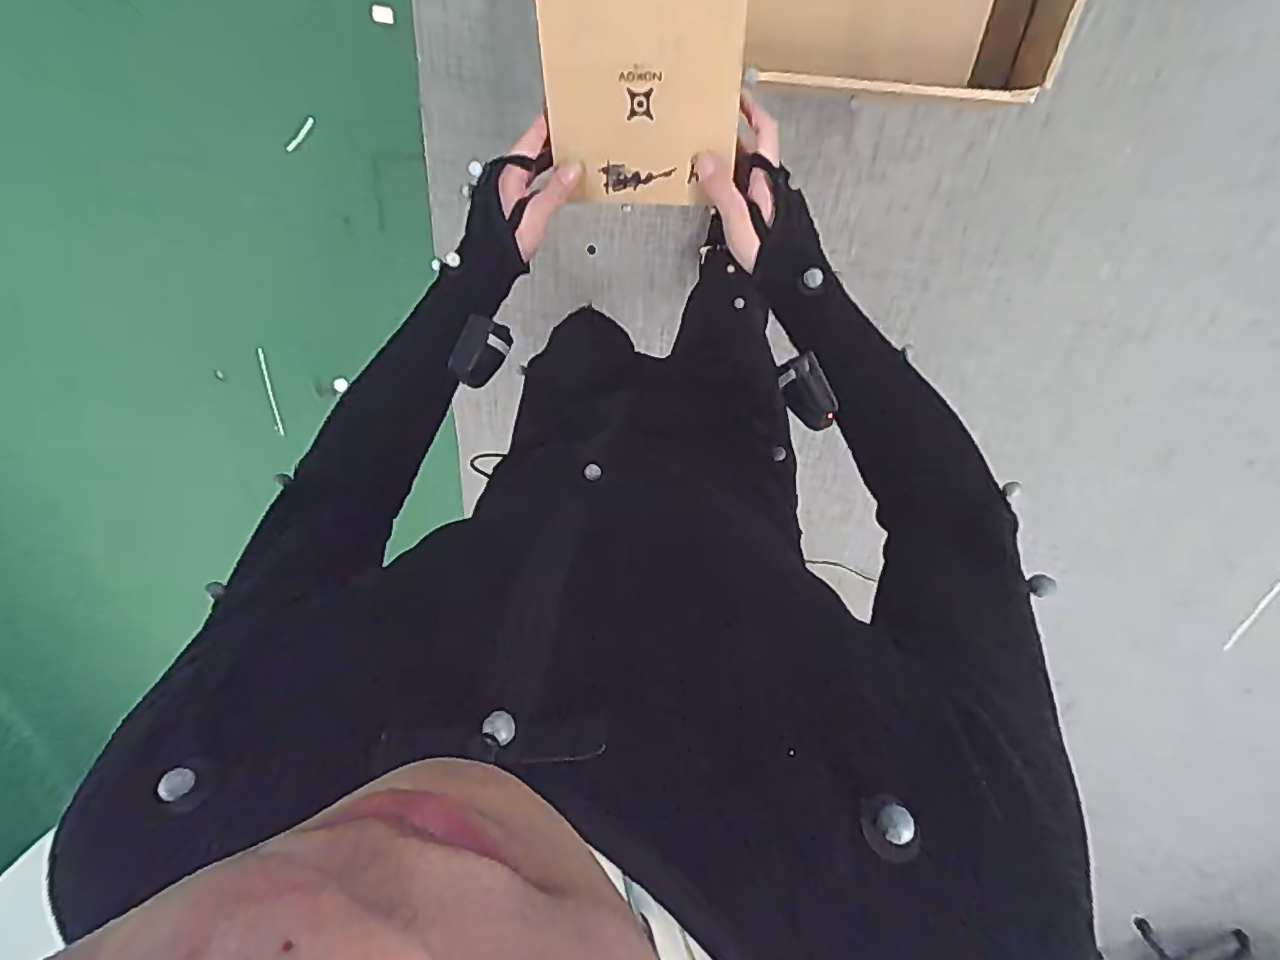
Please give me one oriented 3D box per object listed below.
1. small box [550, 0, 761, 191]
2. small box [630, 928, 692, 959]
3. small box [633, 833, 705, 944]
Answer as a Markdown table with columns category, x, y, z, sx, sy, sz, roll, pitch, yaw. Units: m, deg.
| category | x | y | z | sx | sy | sz | roll | pitch | yaw |
| --- | --- | --- | --- | --- | --- | --- | --- | --- | --- |
| small box | 0.018 | -0.388 | 0.503 | 0.168 | 0.176 | 0.179 | 5 | 132 | 5 |
| small box | 0.063 | 1.315 | 1.575 | 0.168 | 0.176 | 0.179 | 7 | 122 | 6 |
| small box | 0.079 | 1.073 | 1.426 | 0.168 | 0.176 | 0.179 | 7 | 122 | 6 |
